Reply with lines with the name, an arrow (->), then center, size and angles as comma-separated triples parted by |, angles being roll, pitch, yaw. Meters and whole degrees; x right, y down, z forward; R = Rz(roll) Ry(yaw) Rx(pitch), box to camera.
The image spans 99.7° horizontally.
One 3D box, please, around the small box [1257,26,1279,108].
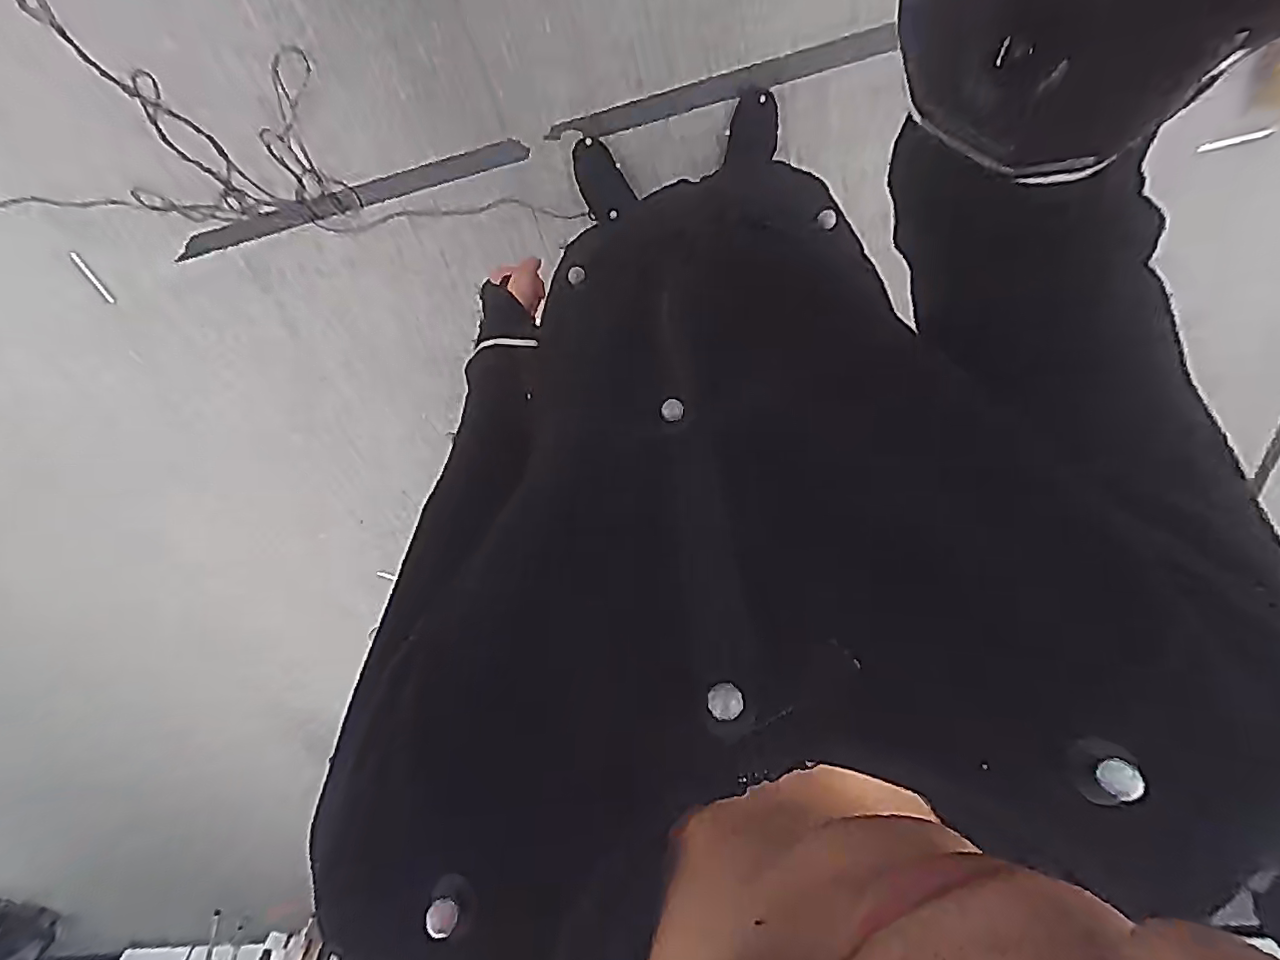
small box -> 1.422, -0.862, 1.074 | 0.179, 0.176, 0.168 | -13, 126, 13
